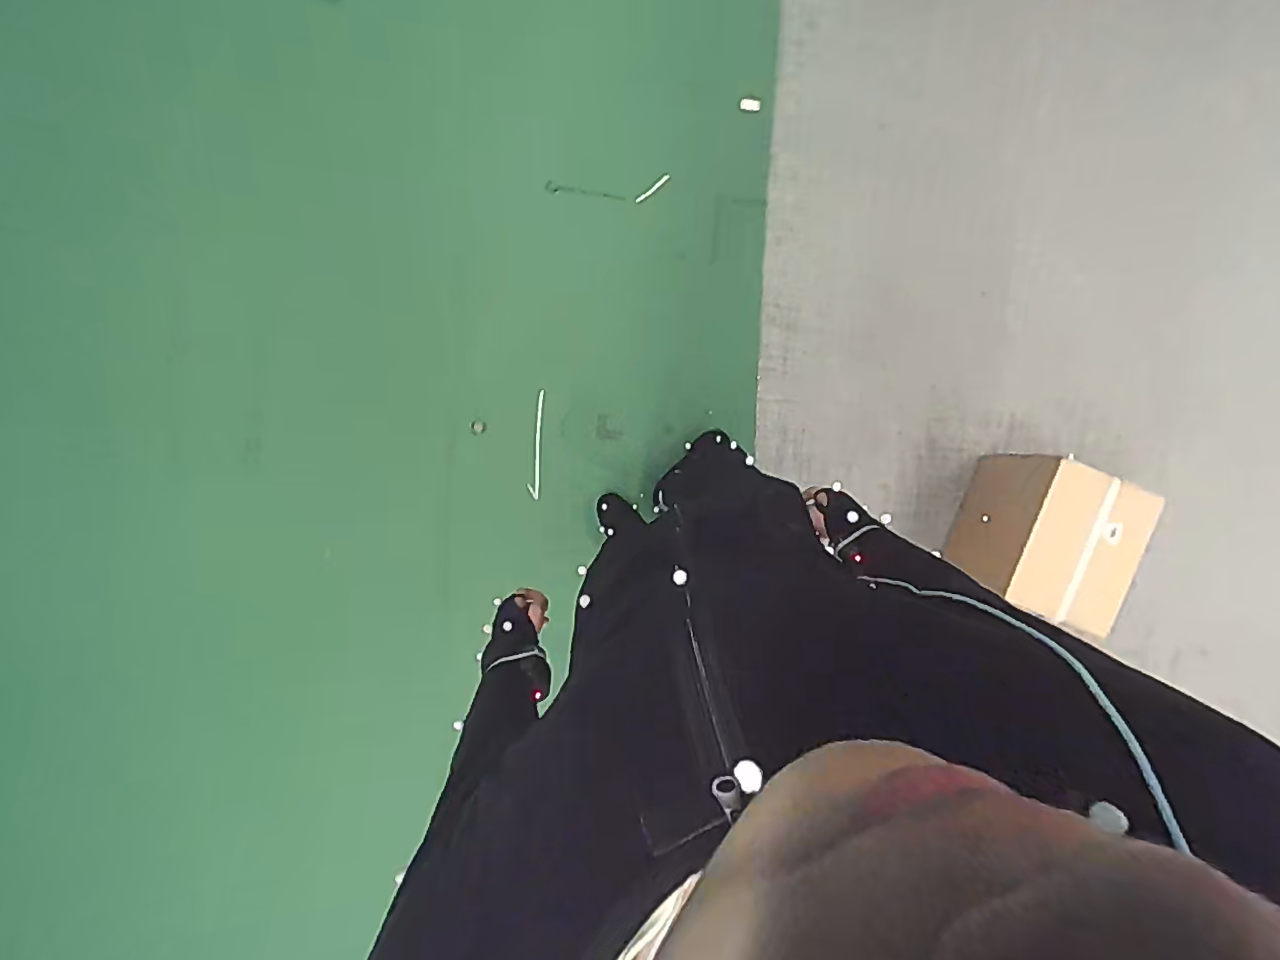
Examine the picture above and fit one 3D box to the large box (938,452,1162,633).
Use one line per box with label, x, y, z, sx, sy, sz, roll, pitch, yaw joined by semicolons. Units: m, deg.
large box;1.136;0.161;1.540;0.320;0.320;0.408;21;91;-4
